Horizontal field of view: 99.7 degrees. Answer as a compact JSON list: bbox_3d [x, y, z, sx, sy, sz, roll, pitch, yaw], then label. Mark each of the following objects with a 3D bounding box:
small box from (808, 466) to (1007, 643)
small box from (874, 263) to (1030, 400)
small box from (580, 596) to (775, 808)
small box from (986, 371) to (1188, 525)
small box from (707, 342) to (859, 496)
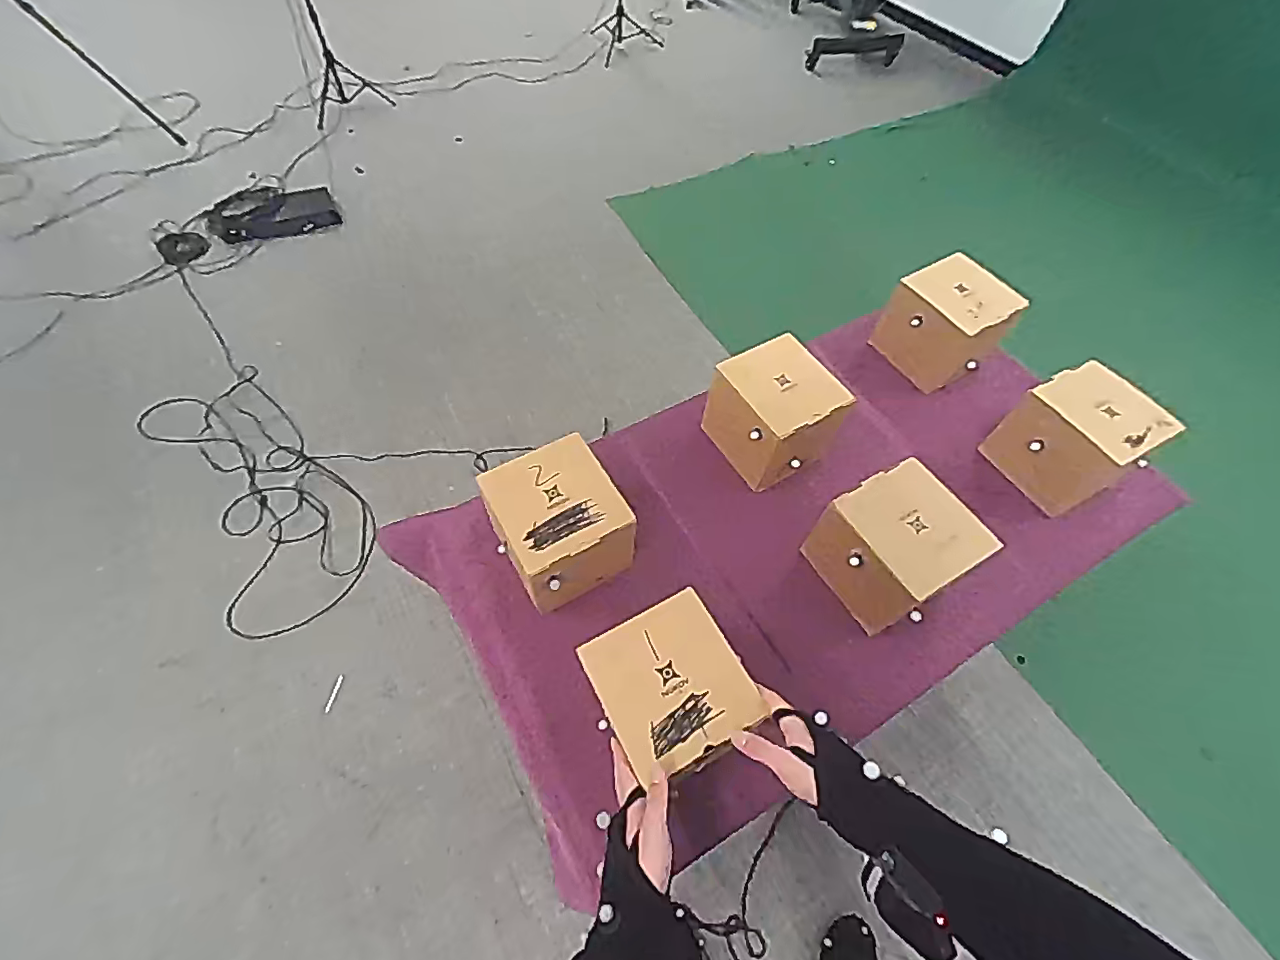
[{"bbox_3d":[0.386,0.116,0.817,0.168,0.176,0.179,-25,61,-17],"label":"small box"},{"bbox_3d":[0.612,-0.296,1.088,0.168,0.176,0.179,-27,64,-15],"label":"small box"},{"bbox_3d":[0.043,0.282,0.680,0.168,0.176,0.179,-25,58,-14],"label":"small box"},{"bbox_3d":[0.759,-0.054,0.944,0.168,0.176,0.179,-23,59,-15],"label":"small box"},{"bbox_3d":[0.237,-0.104,0.952,0.168,0.176,0.179,-26,64,-19],"label":"small box"}]
